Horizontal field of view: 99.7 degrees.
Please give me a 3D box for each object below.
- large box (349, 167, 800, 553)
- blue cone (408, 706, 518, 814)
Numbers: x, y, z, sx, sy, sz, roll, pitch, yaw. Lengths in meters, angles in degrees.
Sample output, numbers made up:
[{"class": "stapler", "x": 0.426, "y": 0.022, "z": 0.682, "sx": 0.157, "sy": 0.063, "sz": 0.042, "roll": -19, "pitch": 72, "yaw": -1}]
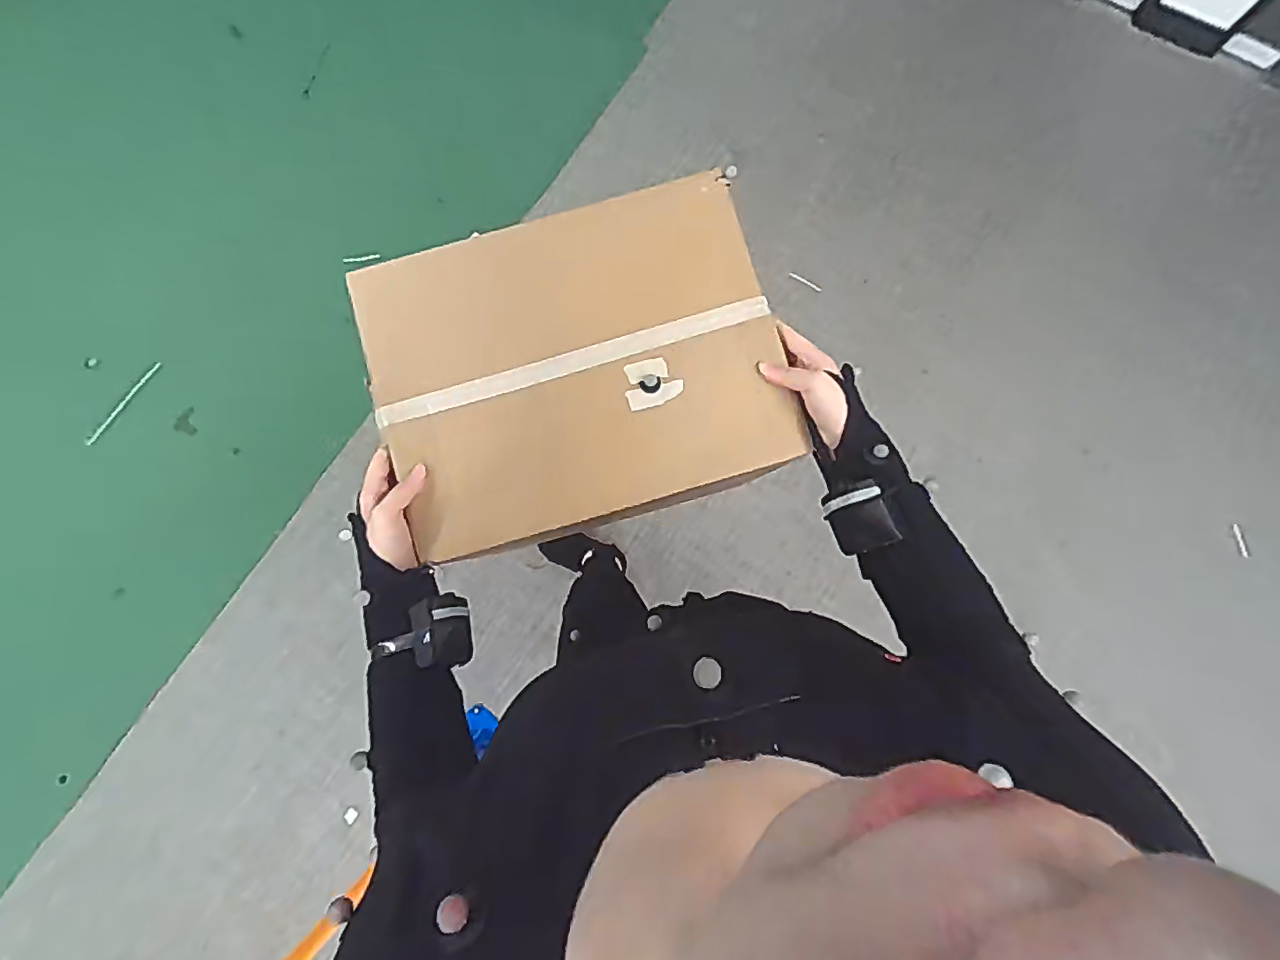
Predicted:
[{"class": "large box", "x": -0.072, "y": -0.114, "z": 0.699, "sx": 0.408, "sy": 0.320, "sz": 0.320, "roll": -17, "pitch": 85, "yaw": -3}, {"class": "blue cone", "x": -0.434, "y": 0.686, "z": 1.251, "sx": 0.192, "sy": 0.380, "sz": 0.193, "roll": 40, "pitch": 82, "yaw": 9}]
